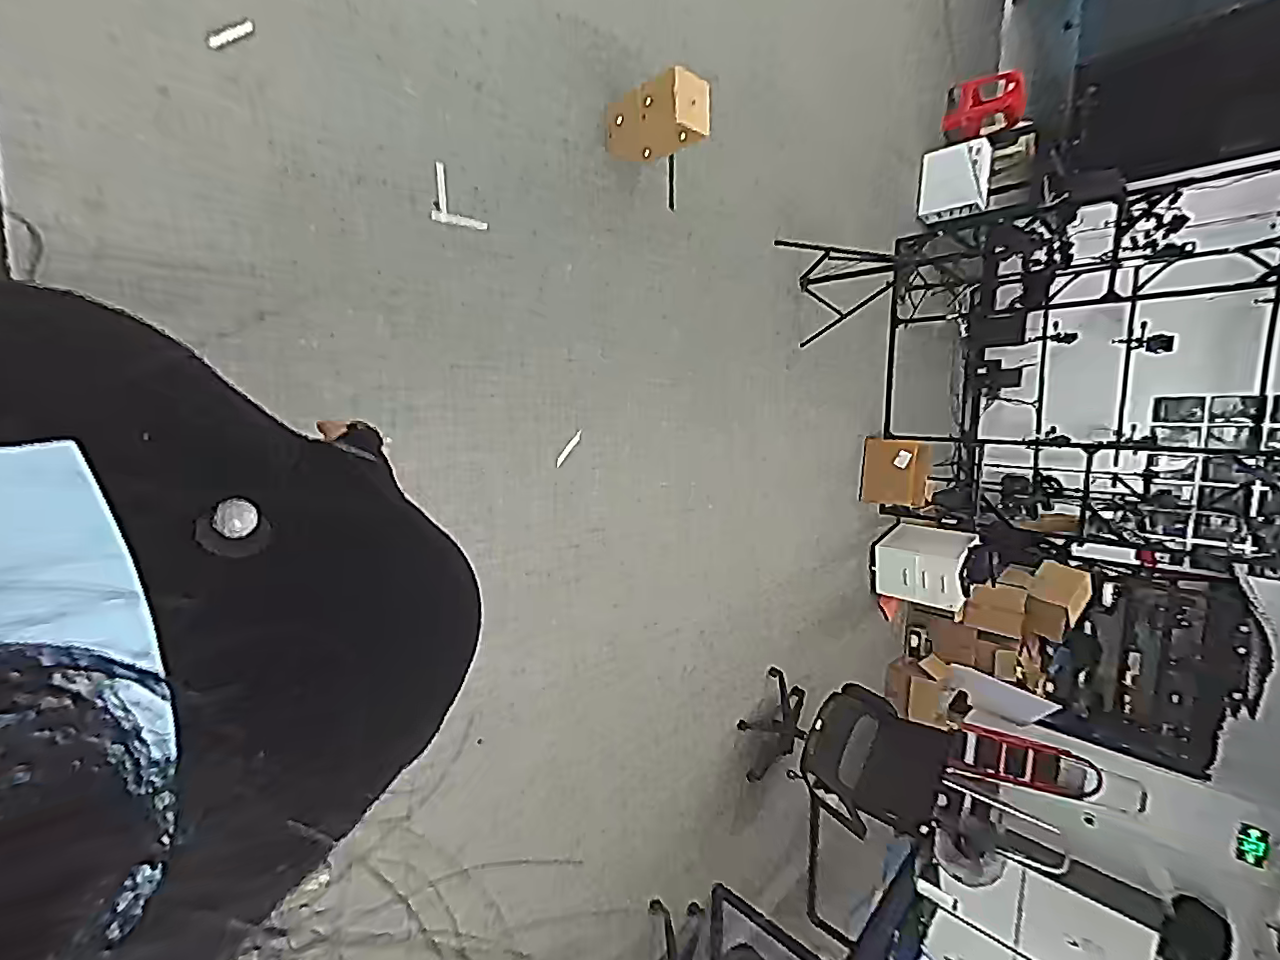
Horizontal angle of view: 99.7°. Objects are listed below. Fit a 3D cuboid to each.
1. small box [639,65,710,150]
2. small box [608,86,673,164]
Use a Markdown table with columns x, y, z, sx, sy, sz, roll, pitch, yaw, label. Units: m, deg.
| x | y | z | sx | sy | sz | roll | pitch | yaw | label |
| --- | --- | --- | --- | --- | --- | --- | --- | --- | --- |
| 0.115 | -1.237 | 1.814 | 0.179 | 0.176 | 0.168 | -11 | 103 | -44 | small box |
| -0.002 | -1.253 | 1.926 | 0.179 | 0.176 | 0.168 | -13 | 105 | -45 | small box |
